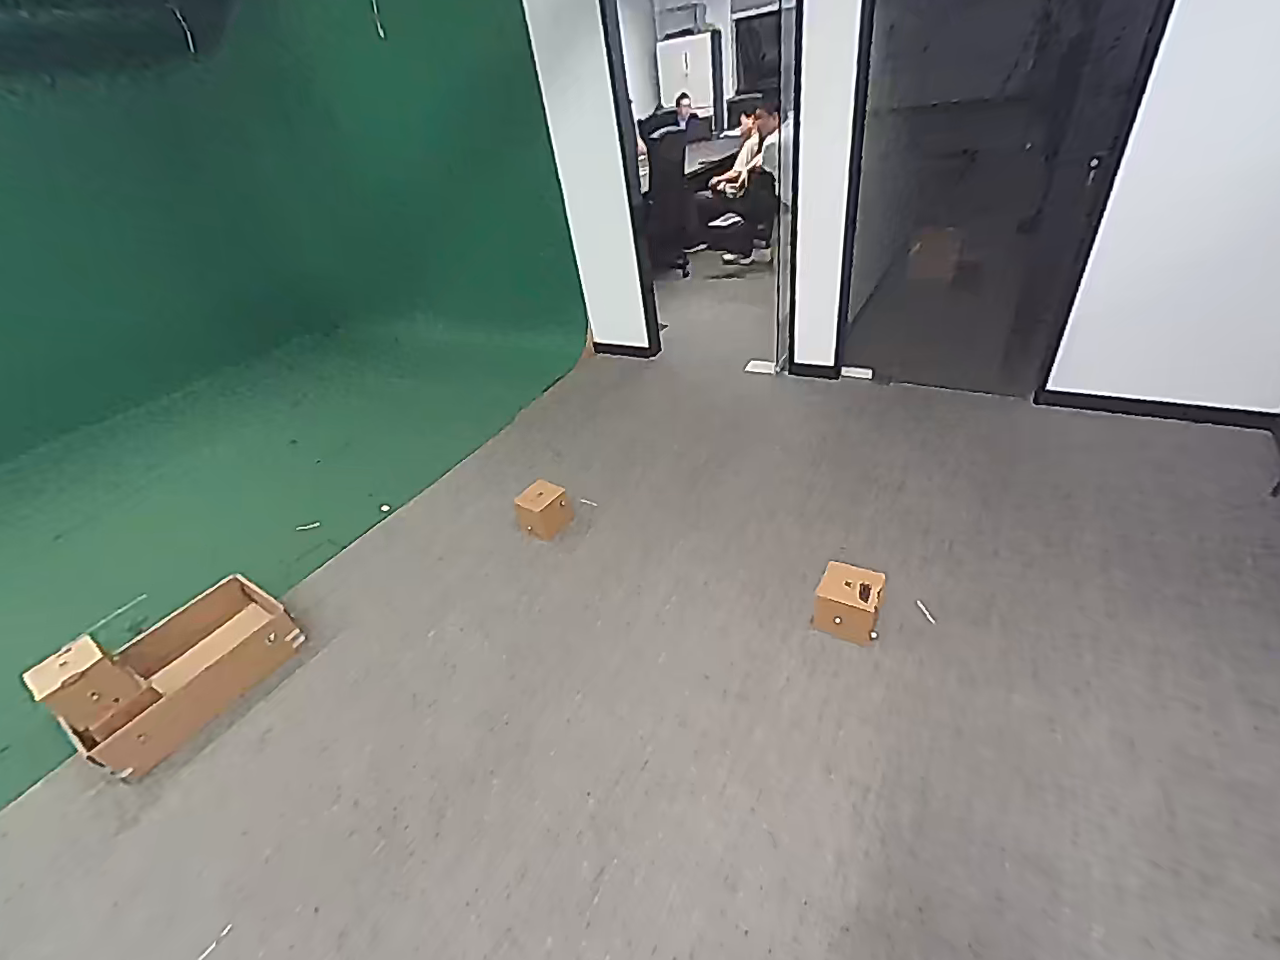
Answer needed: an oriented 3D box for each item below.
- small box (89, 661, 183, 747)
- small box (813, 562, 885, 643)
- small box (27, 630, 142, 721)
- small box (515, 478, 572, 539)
[{"bbox_3d":[-1.646,0.727,1.746,0.179,0.176,0.168,14,43,27],"label":"small box"},{"bbox_3d":[0.673,0.399,1.748,0.179,0.176,0.168,15,43,30],"label":"small box"},{"bbox_3d":[-1.683,0.600,1.647,0.179,0.176,0.168,18,45,31],"label":"small box"},{"bbox_3d":[-0.412,0.124,2.351,0.168,0.176,0.179,19,45,33],"label":"small box"}]
